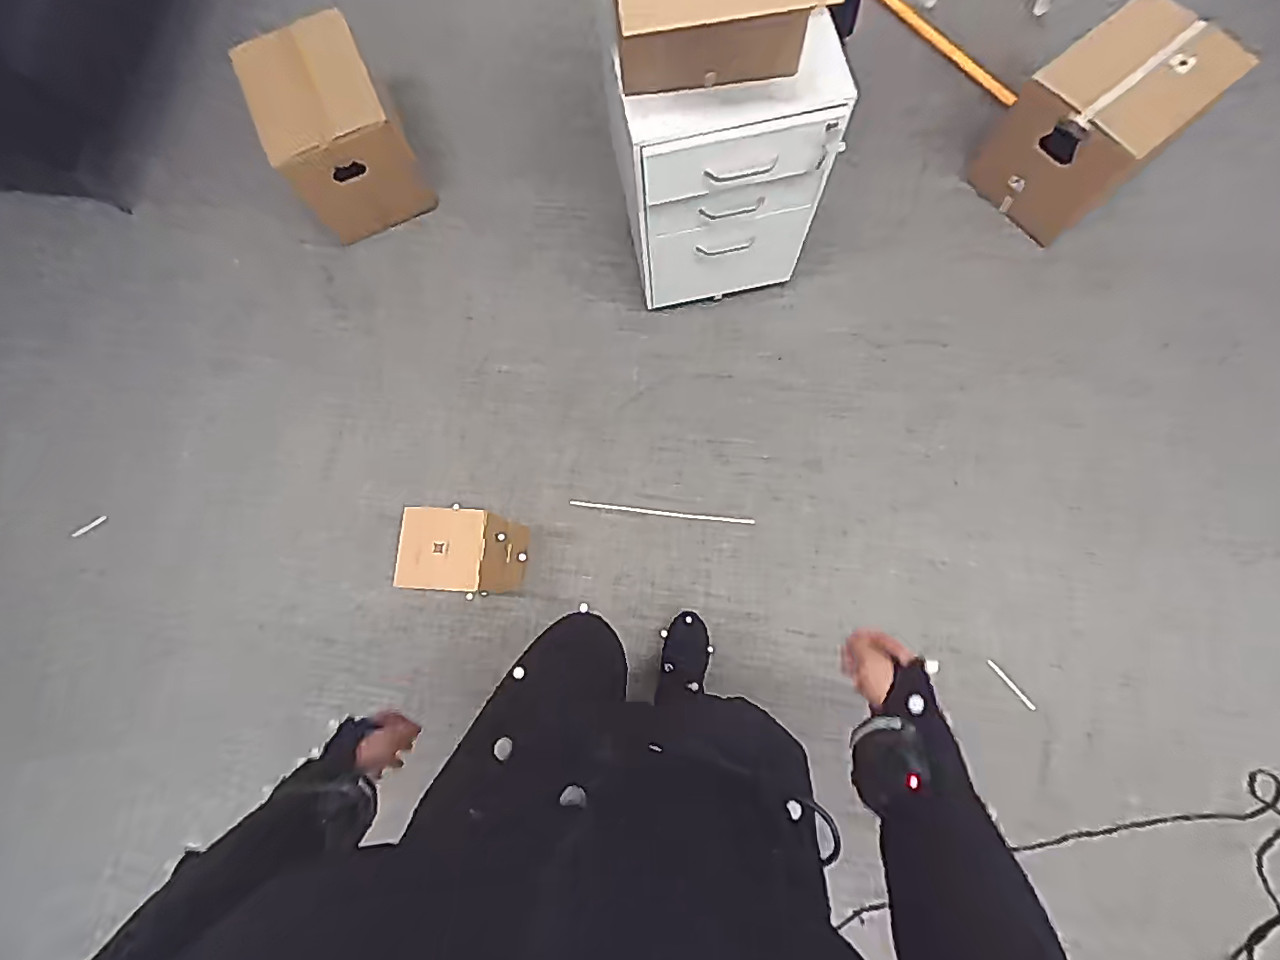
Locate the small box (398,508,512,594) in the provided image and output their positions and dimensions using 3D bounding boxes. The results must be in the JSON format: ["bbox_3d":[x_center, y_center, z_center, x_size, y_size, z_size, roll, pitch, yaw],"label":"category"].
[{"bbox_3d":[-0.390,0.159,1.171,0.179,0.176,0.168,1,76,6],"label":"small box"}]

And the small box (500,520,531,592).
[{"bbox_3d":[-0.379,0.184,1.332,0.179,0.176,0.168,4,77,4],"label":"small box"}]
